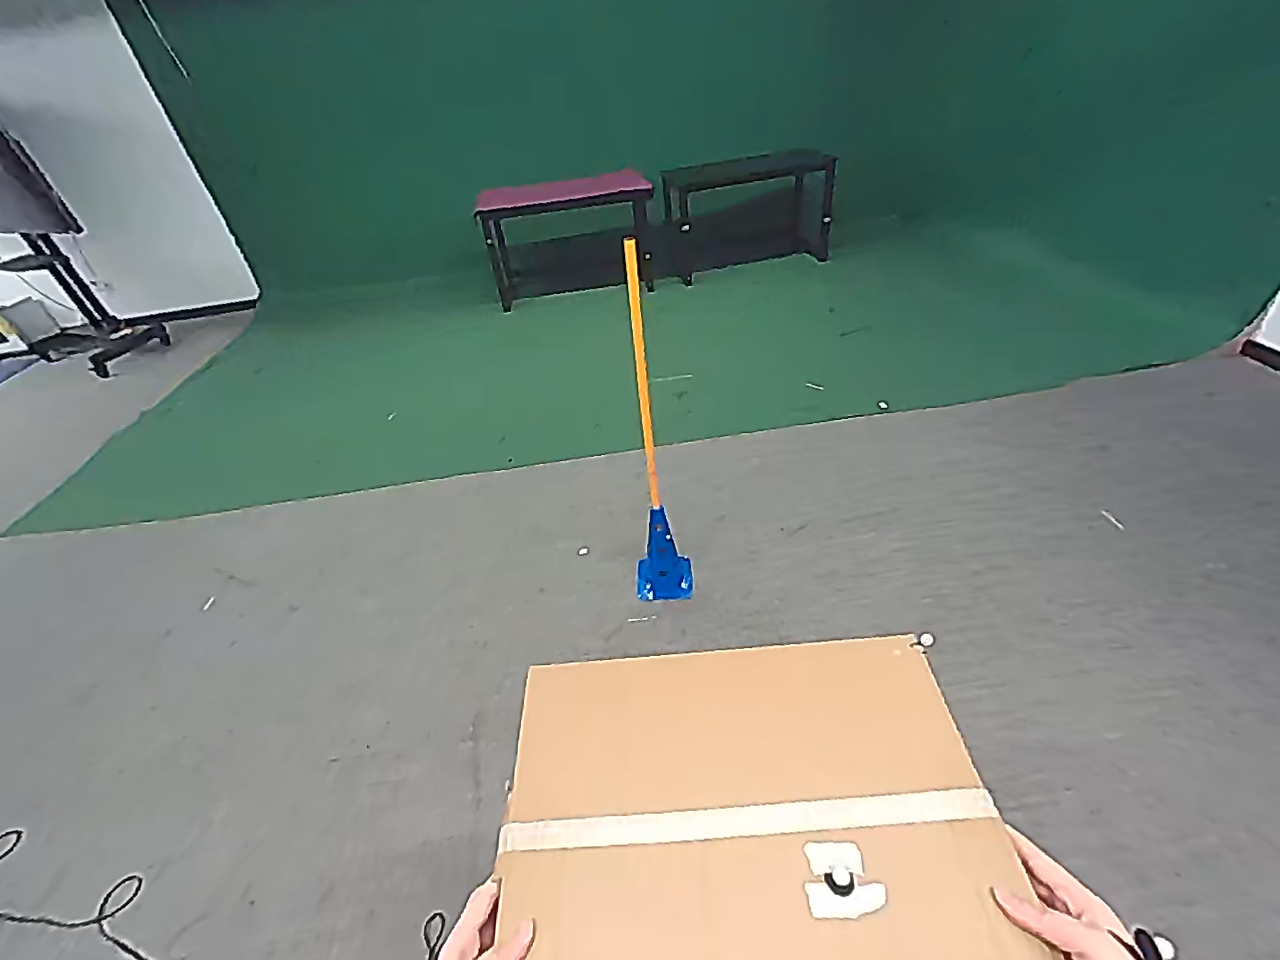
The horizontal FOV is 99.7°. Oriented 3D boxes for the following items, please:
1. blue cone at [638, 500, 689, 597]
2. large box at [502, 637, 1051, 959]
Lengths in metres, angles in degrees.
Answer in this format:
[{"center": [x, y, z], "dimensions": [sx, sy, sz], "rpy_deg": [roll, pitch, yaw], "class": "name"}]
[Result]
[{"center": [0.071, 0.230, 1.905], "dimensions": [0.193, 0.380, 0.192], "rpy_deg": [-3, 38, 5], "class": "blue cone"}, {"center": [0.100, 0.396, 0.562], "dimensions": [0.408, 0.320, 0.320], "rpy_deg": [-5, 44, 2], "class": "large box"}]
